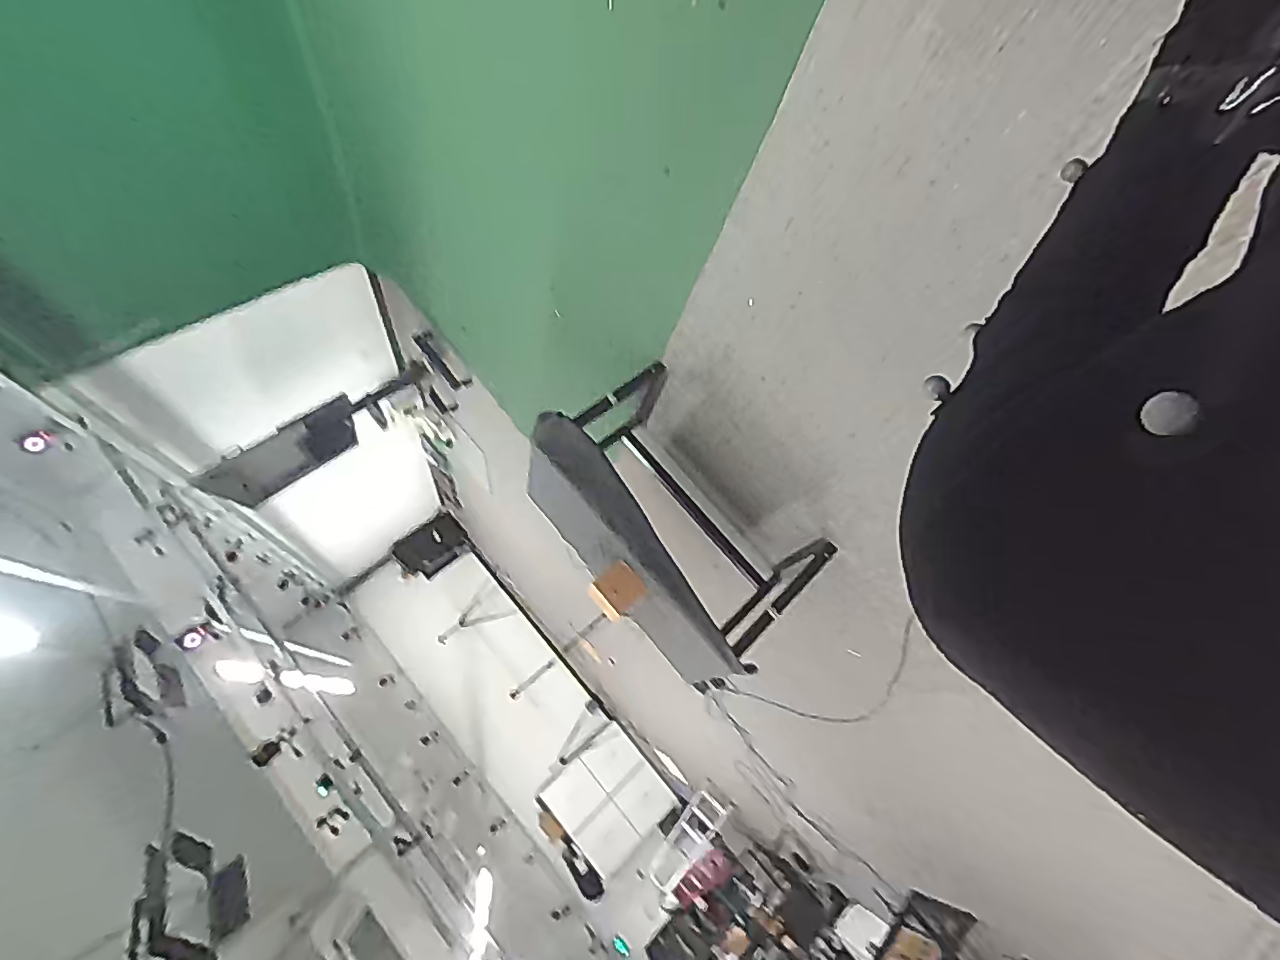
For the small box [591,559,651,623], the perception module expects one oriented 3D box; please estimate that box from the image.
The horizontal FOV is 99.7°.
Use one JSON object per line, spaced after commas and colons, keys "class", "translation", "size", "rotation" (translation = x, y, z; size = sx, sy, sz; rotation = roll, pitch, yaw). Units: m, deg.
{"class": "small box", "translation": [-0.077, 0.457, 2.228], "size": [0.179, 0.176, 0.168], "rotation": [49, 154, 11]}
